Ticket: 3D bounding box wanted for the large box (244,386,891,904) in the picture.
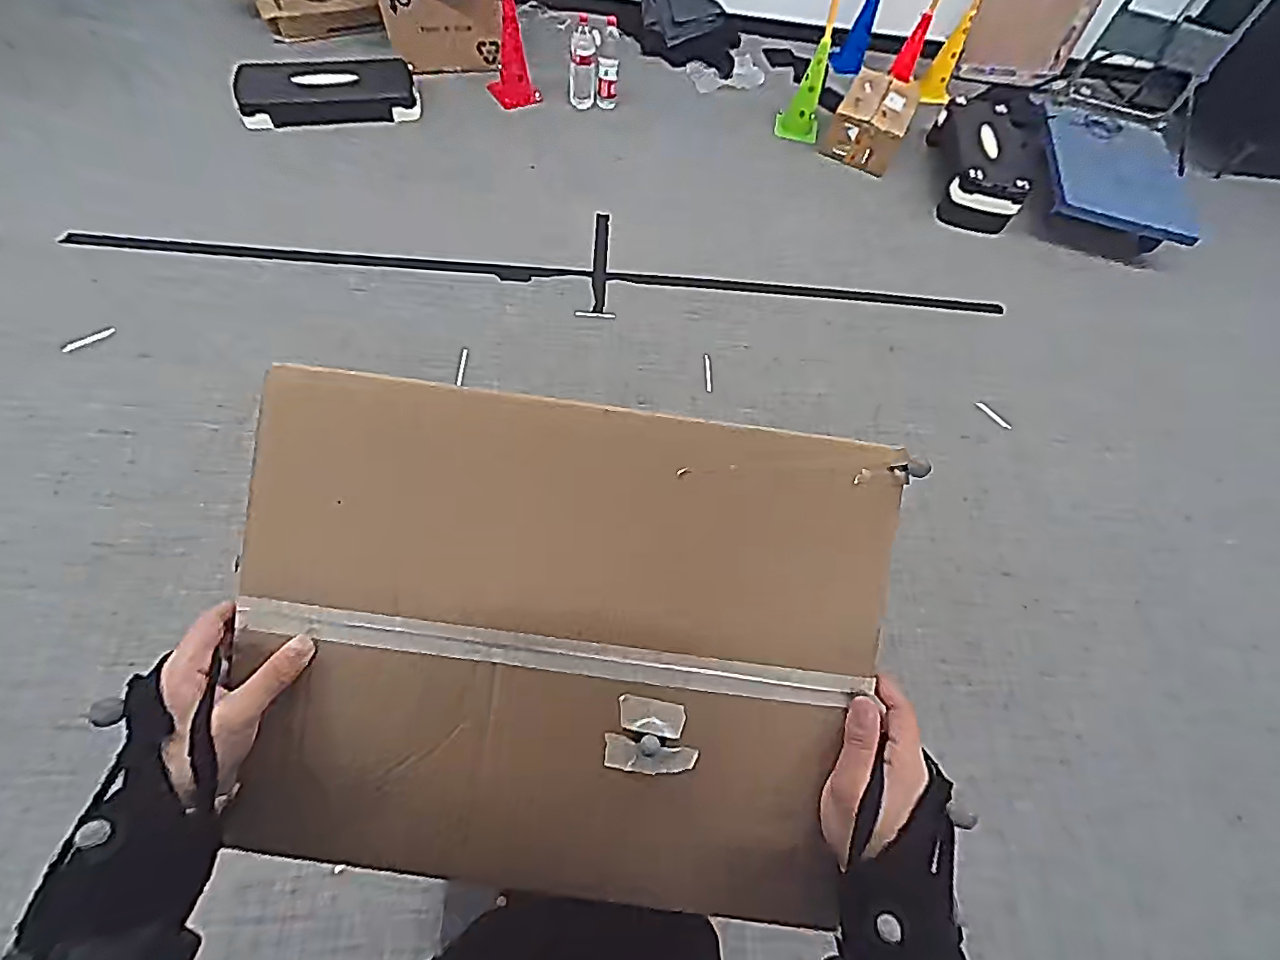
[{"bbox_3d":[-0.051,0.109,0.504,0.408,0.320,0.320,8,92,-1],"label":"large box"}]
